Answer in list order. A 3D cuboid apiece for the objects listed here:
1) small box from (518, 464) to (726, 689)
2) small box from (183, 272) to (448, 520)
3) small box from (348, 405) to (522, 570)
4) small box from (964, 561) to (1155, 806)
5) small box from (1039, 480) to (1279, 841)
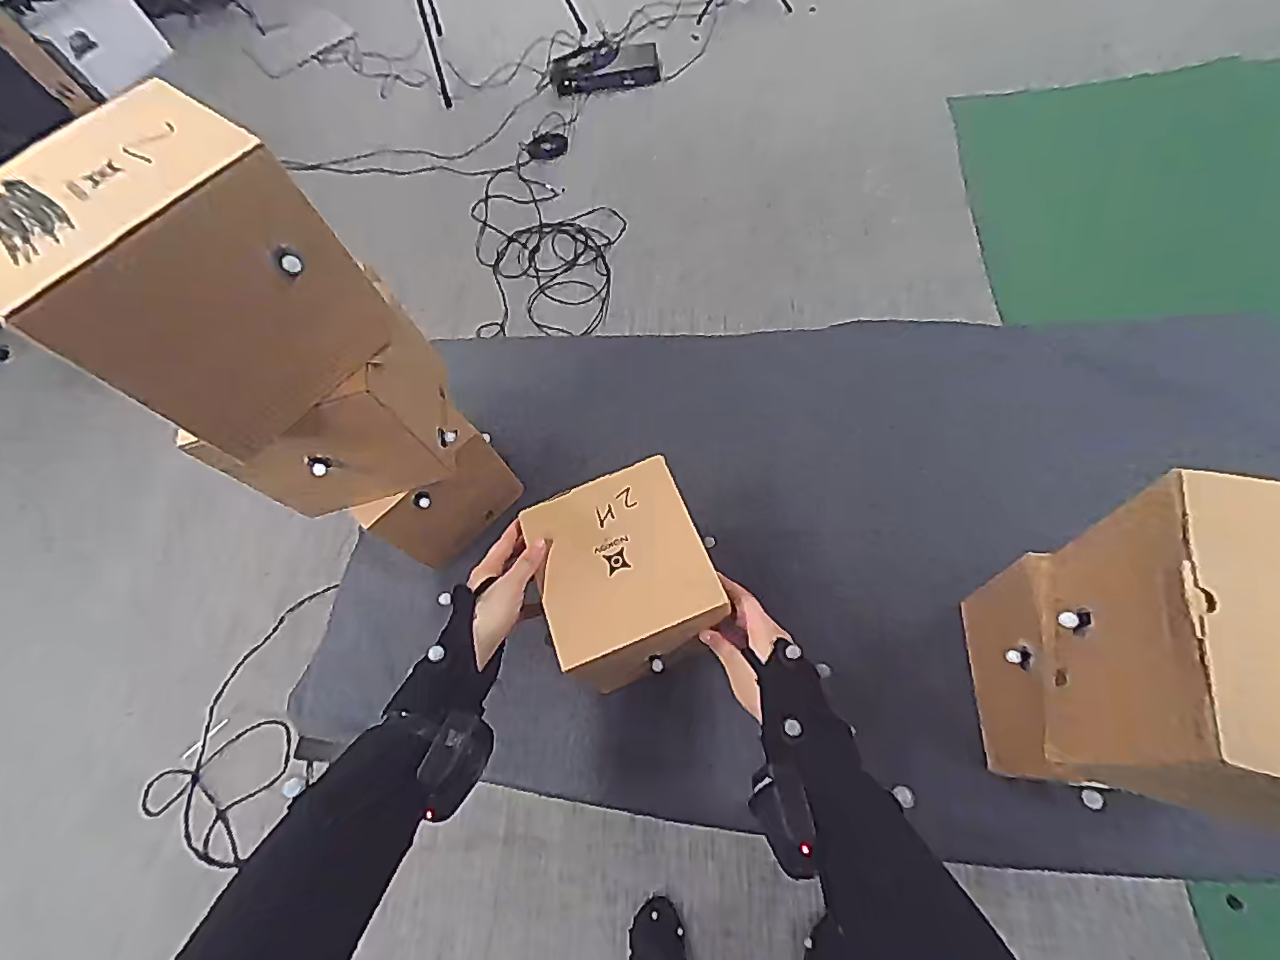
[{"bbox_3d":[-0.011,0.117,0.598,0.168,0.176,0.179,-22,60,-1],"label":"small box"},{"bbox_3d":[-0.317,-0.078,0.570,0.179,0.176,0.168,-17,62,2],"label":"small box"},{"bbox_3d":[-0.290,-0.007,0.717,0.168,0.176,0.179,-44,64,-12],"label":"small box"},{"bbox_3d":[0.415,0.186,0.482,0.168,0.176,0.179,0,63,12],"label":"small box"},{"bbox_3d":[0.386,0.122,0.335,0.179,0.176,0.168,10,64,17],"label":"small box"}]
